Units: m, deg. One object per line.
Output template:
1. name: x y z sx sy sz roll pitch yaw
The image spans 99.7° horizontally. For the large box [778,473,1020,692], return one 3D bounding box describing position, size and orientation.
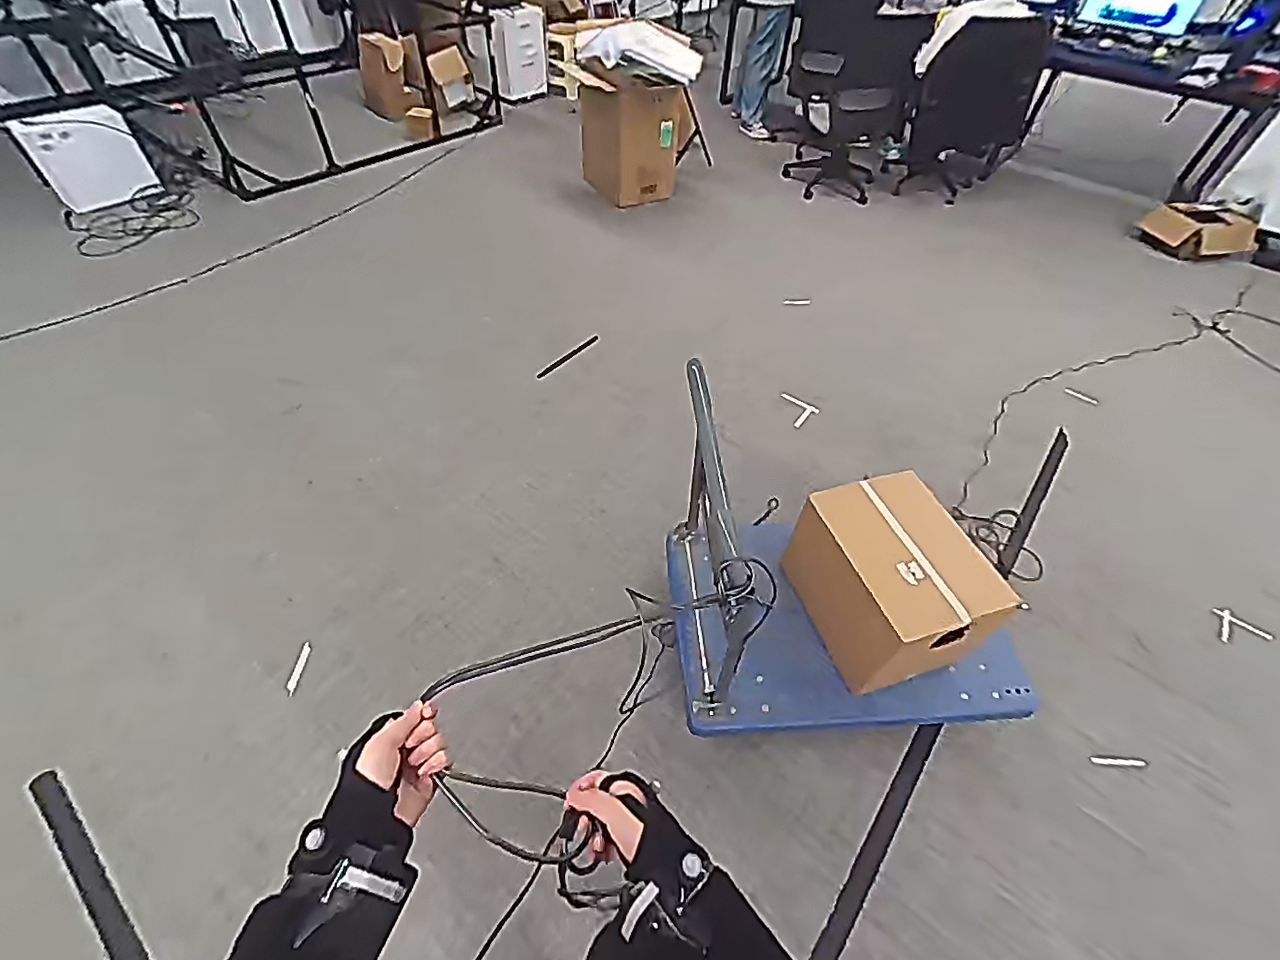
1. large box: 0.604 0.250 1.356 0.320 0.320 0.408 -13 52 -13
